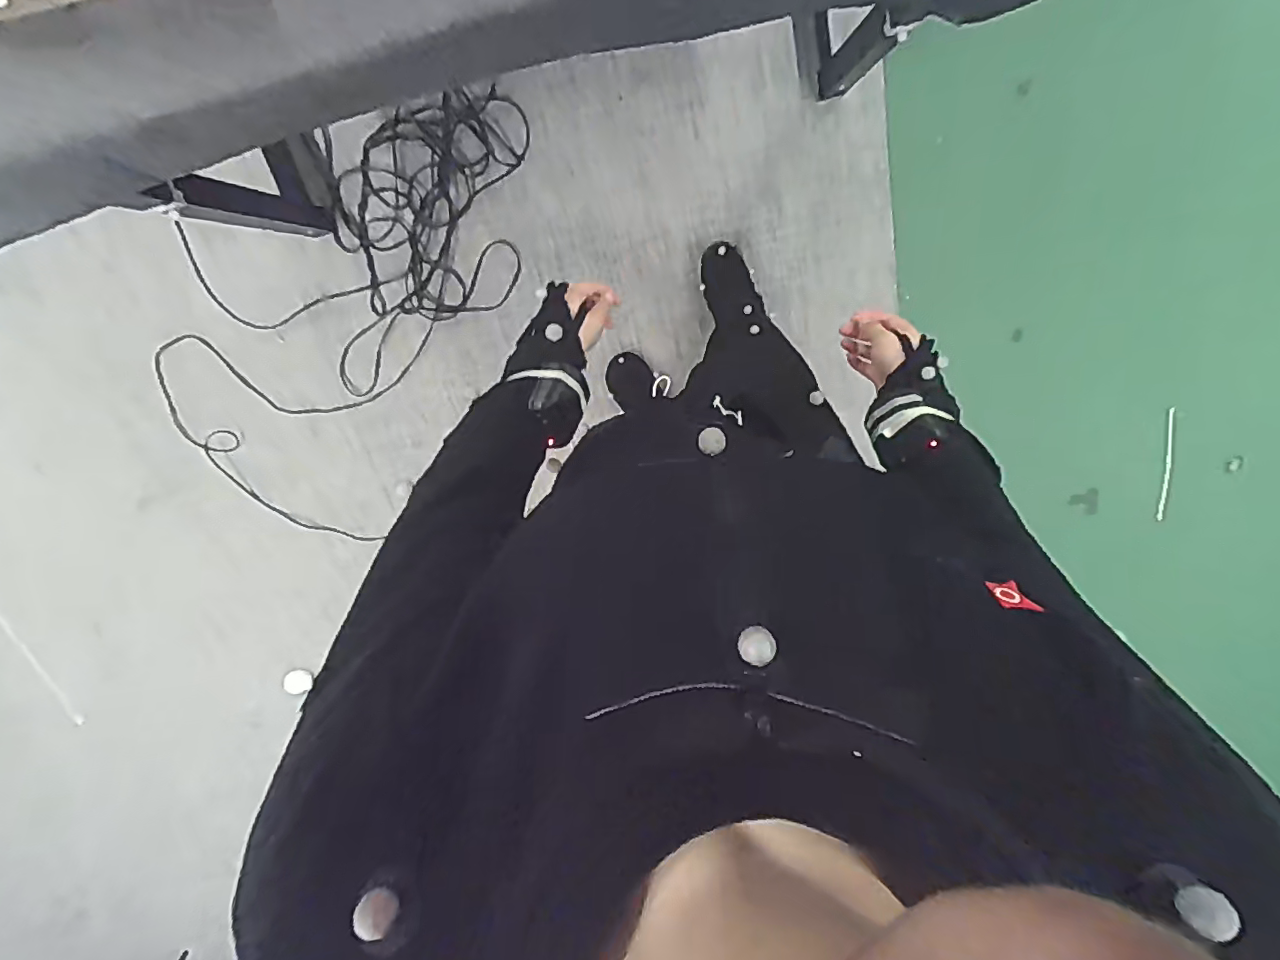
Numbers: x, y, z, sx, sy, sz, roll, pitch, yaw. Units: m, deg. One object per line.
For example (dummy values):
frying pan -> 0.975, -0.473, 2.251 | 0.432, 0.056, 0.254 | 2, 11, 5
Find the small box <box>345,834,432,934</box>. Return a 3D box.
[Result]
small box -> -0.796, 1.290, 1.732 | 0.168, 0.176, 0.179 | 31, 105, -12
